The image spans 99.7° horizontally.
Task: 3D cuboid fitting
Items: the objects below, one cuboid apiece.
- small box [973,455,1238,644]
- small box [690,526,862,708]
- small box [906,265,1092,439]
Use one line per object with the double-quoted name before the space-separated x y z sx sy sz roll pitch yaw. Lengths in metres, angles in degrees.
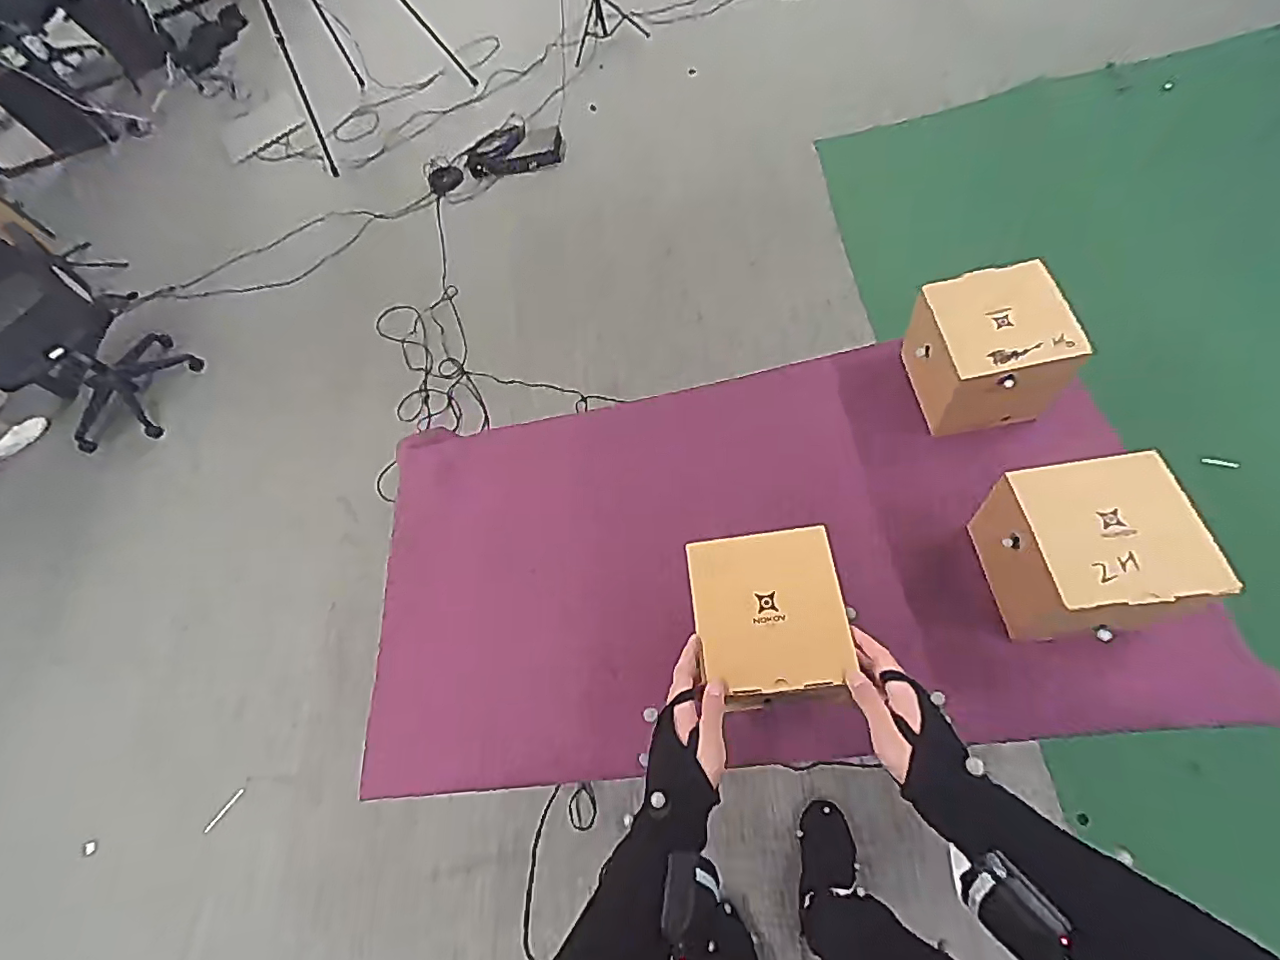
"small box" 0.550 0.094 0.677 0.168 0.176 0.179 -9 60 11
"small box" 0.157 0.177 0.673 0.168 0.176 0.179 -9 62 7
"small box" 0.527 -0.189 0.829 0.168 0.176 0.179 -11 63 11
